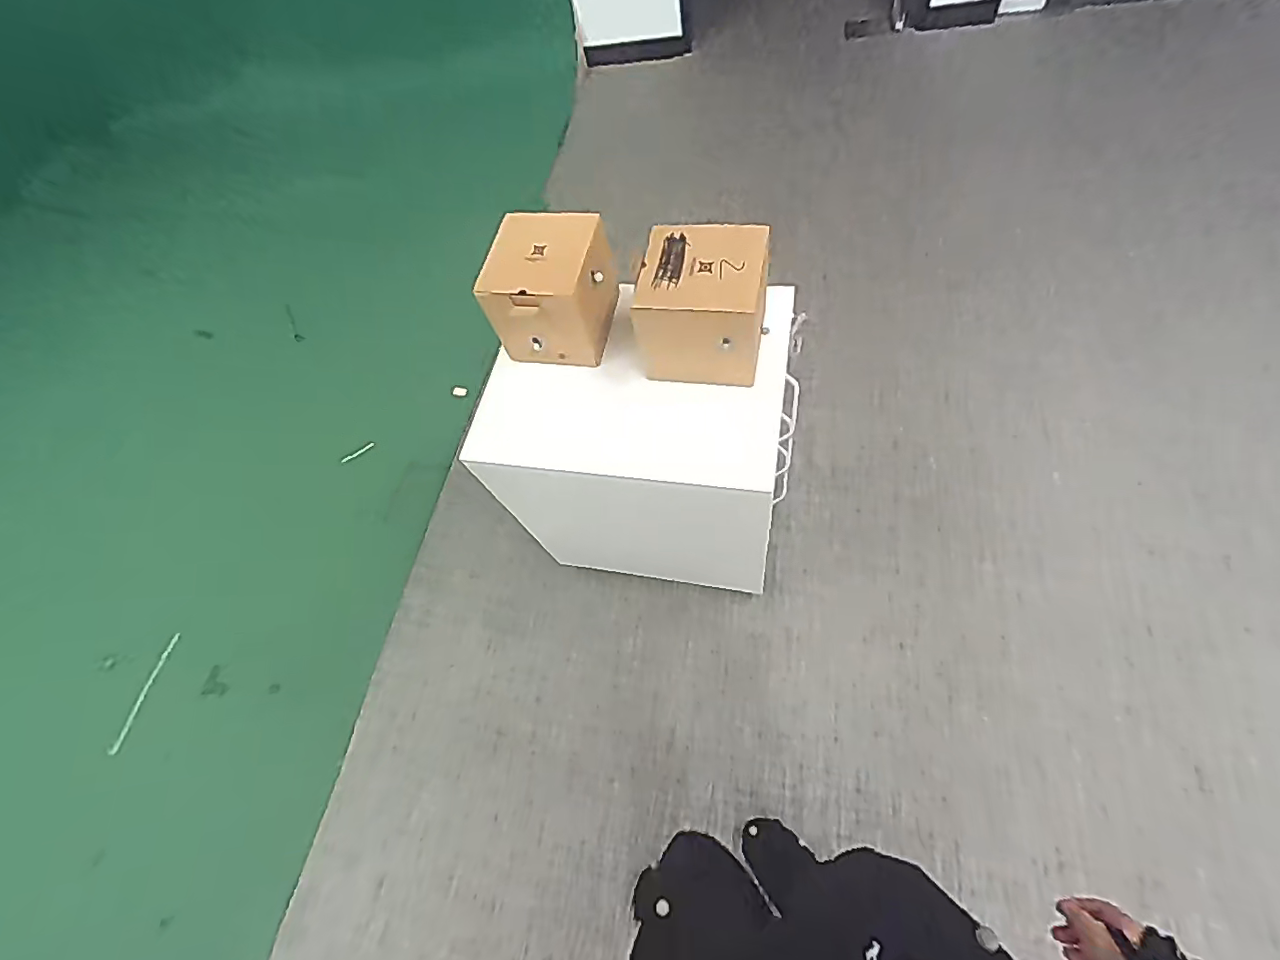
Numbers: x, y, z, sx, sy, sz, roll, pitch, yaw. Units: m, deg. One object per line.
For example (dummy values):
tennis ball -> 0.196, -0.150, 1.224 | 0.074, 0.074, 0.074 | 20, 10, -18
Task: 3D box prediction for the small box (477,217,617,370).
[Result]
small box -> -0.143, -0.311, 0.908 | 0.168, 0.176, 0.179 | 7, 66, 13
